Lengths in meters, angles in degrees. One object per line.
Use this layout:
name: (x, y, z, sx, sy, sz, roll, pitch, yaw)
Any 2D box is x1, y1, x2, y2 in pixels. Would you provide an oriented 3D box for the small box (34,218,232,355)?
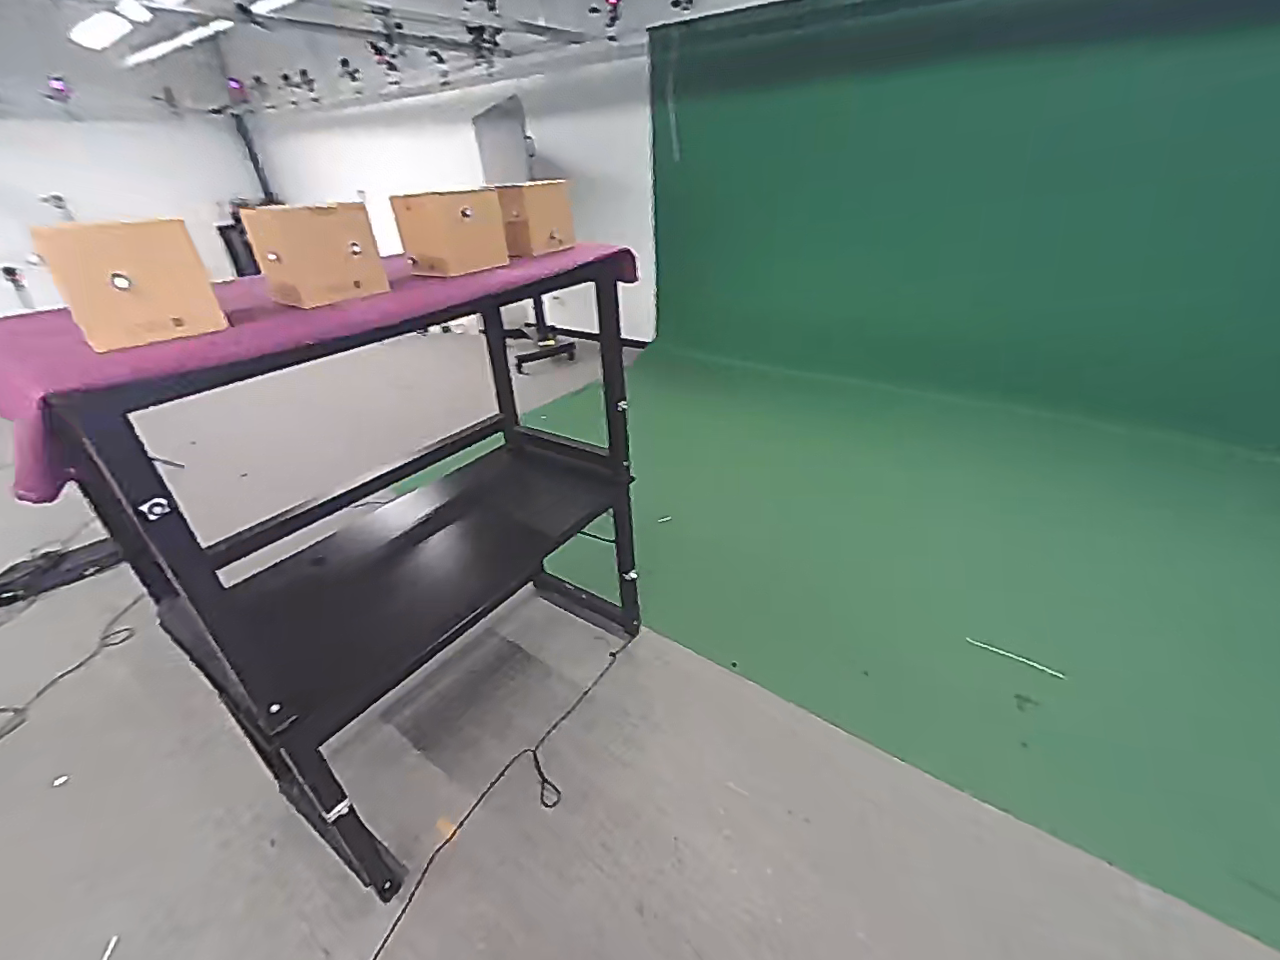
small box: (-0.779, -0.304, 0.842, 0.179, 0.176, 0.168, 22, 39, 37)

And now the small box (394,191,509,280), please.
small box: (-0.429, -0.568, 1.257, 0.168, 0.176, 0.179, 17, 35, 32)

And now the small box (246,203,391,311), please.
small box: (-0.613, -0.431, 1.044, 0.179, 0.176, 0.168, 22, 38, 37)
